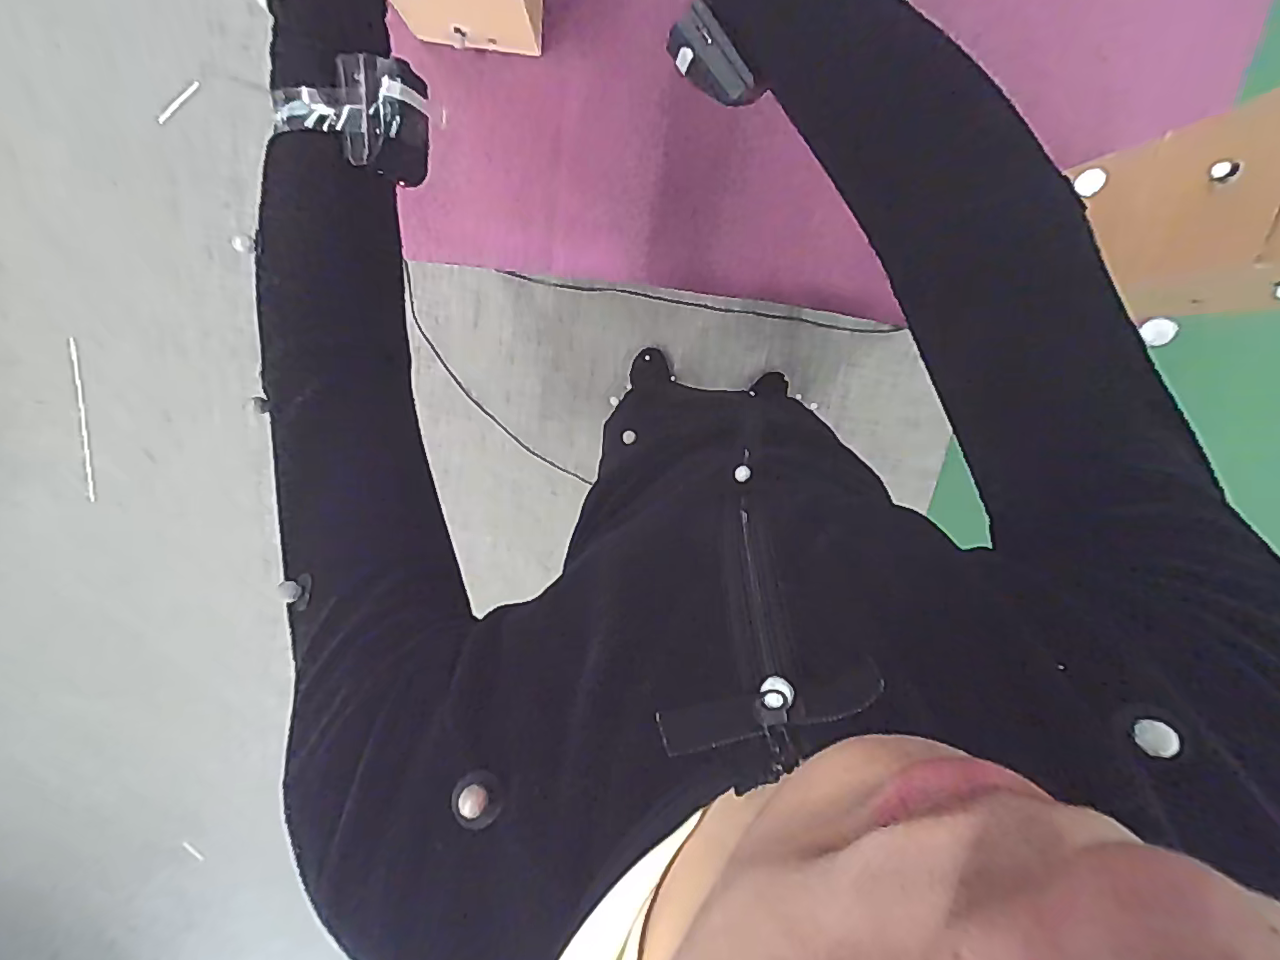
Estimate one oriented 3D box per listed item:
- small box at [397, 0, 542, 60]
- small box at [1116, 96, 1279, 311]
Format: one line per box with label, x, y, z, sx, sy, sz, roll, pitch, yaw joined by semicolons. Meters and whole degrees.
small box;-0.206;-0.639;0.629;0.168;0.176;0.179;5;105;-3
small box;0.674;-0.290;0.577;0.168;0.176;0.179;11;103;-3
